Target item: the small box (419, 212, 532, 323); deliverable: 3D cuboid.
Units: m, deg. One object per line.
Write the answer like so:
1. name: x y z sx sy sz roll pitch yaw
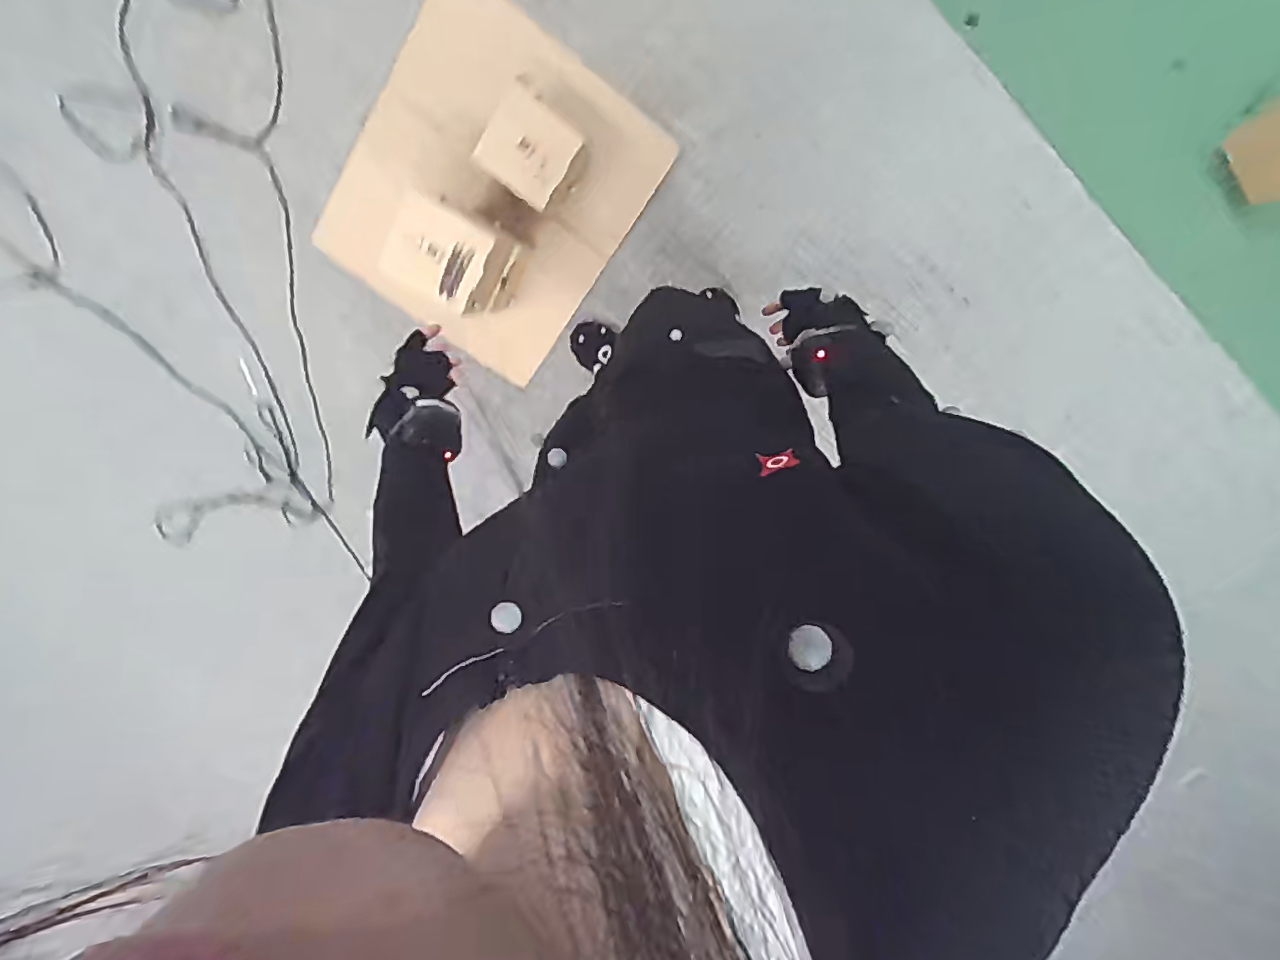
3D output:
1. small box: -0.369 -0.485 1.246 0.179 0.176 0.168 30 106 -9

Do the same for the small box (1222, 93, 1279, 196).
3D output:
1. small box: 1.448 -0.751 1.173 0.168 0.176 0.179 -43 104 13

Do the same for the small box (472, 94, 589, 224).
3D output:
1. small box: -0.231 -0.684 1.180 0.179 0.176 0.168 34 107 -11
